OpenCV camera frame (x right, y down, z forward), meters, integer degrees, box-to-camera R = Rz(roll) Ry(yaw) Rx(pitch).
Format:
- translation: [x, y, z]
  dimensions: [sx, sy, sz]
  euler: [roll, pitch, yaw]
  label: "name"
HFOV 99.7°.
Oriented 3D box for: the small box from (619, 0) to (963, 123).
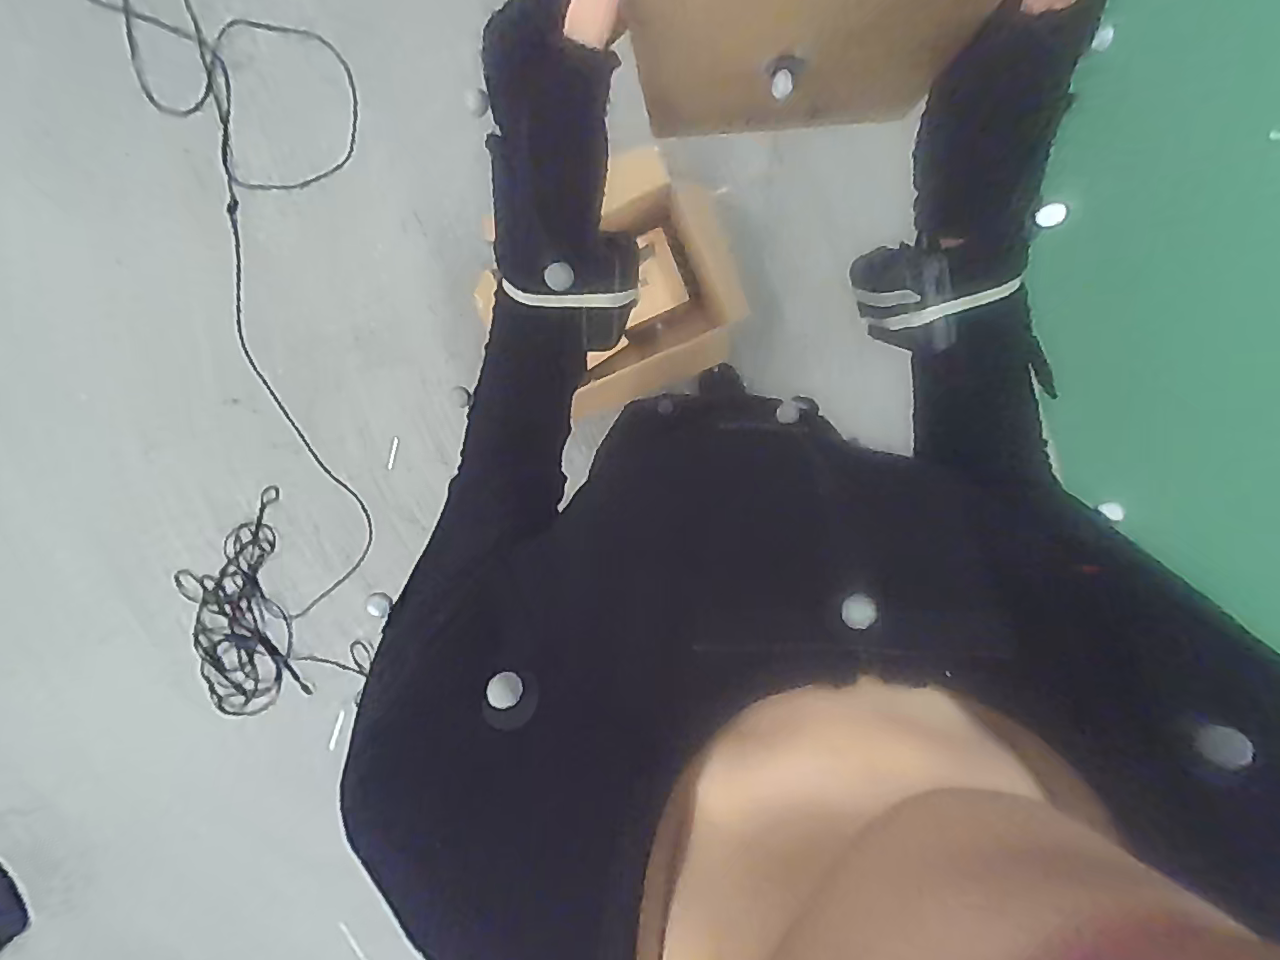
- translation: [0.077, -0.306, 0.271]
  dimensions: [0.168, 0.176, 0.179]
  euler: [0, 100, 6]
  label: "small box"
